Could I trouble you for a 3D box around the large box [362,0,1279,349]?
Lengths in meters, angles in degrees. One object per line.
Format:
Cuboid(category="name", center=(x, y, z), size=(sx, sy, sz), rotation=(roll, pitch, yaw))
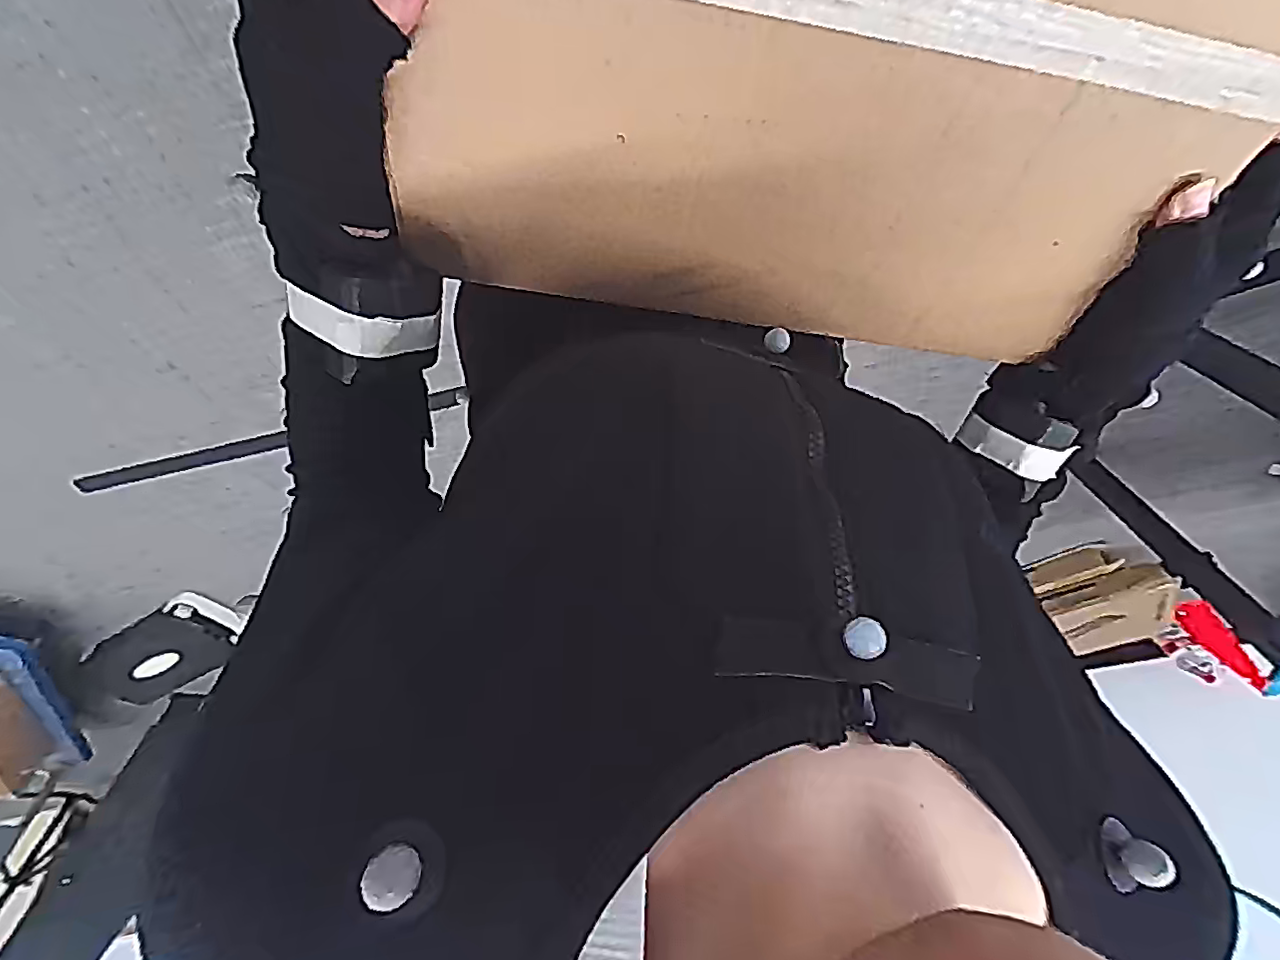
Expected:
Cuboid(category="large box", center=(0.087, -0.314, 0.307), size=(0.408, 0.320, 0.320), rotation=(6, 146, -6))
